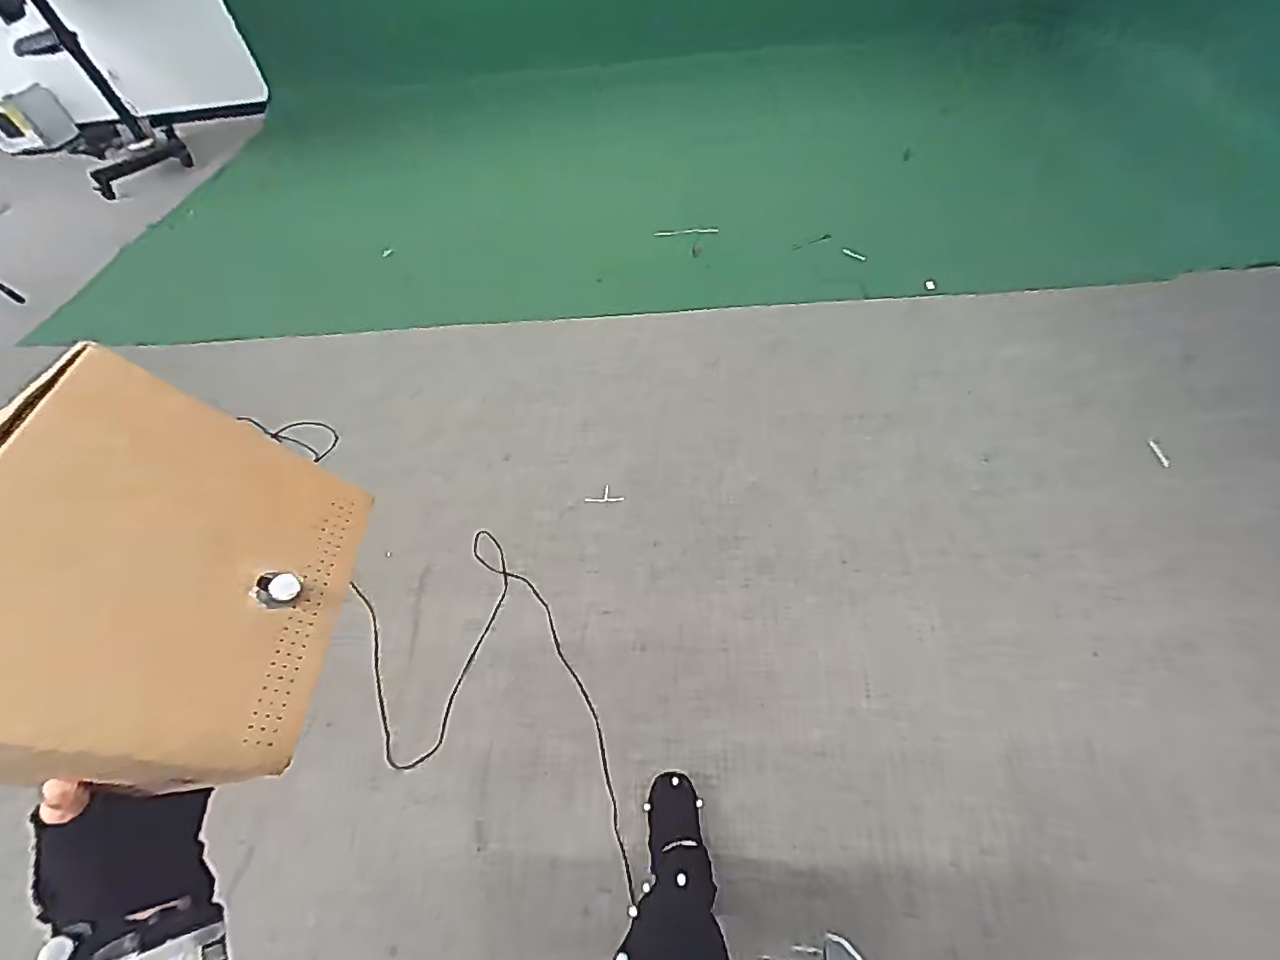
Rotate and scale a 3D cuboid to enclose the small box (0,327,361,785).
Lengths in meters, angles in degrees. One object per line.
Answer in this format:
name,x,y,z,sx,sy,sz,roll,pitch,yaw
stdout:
small box,-0.292,0.058,0.299,0.168,0.176,0.179,-19,52,24
